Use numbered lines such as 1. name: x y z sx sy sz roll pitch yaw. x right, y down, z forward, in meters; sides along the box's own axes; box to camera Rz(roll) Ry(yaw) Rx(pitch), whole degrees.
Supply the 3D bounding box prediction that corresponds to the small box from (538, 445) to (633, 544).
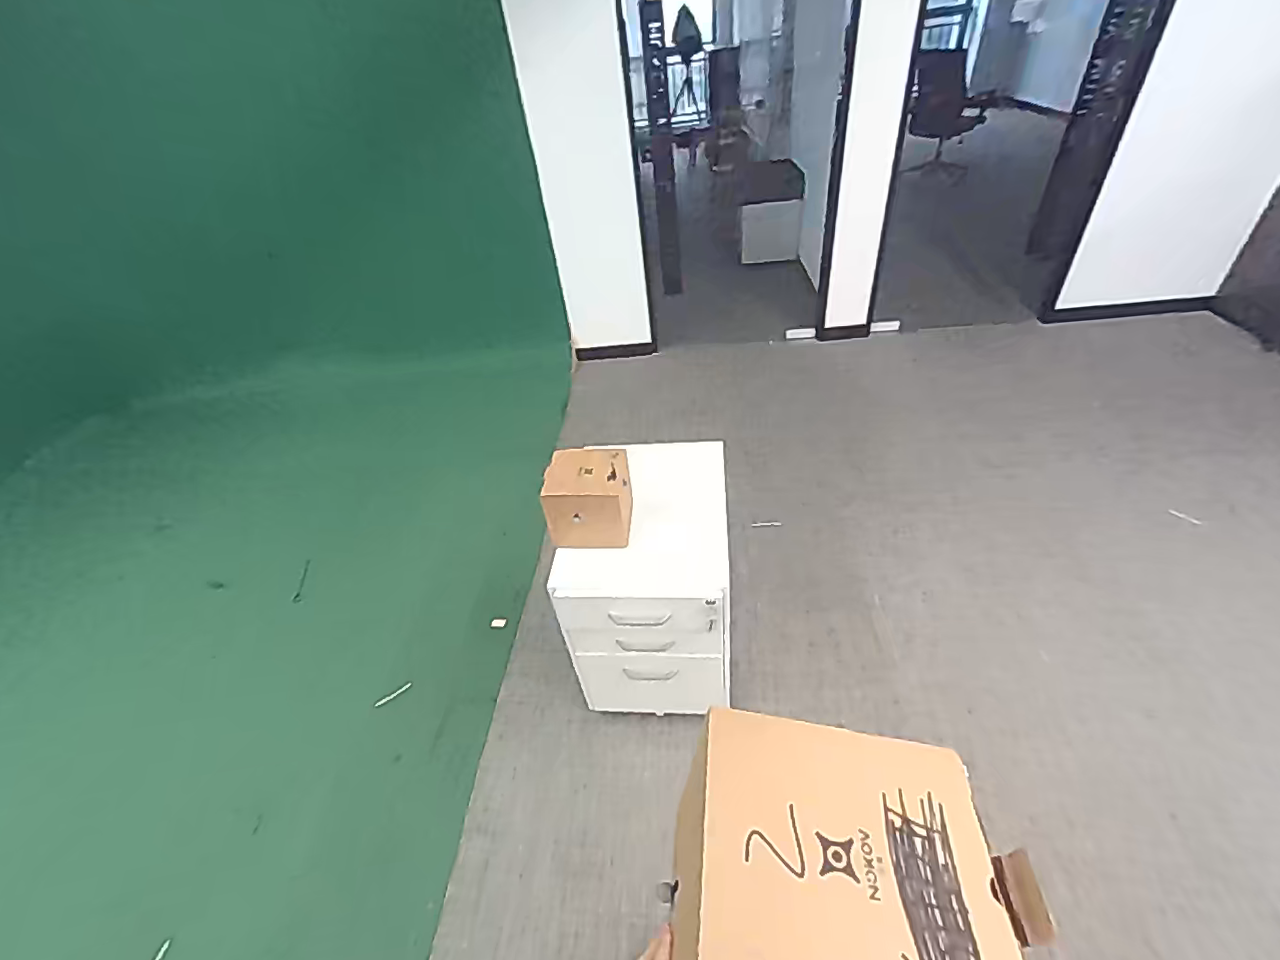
1. small box: -0.119 0.035 1.254 0.179 0.176 0.168 -1 41 7
